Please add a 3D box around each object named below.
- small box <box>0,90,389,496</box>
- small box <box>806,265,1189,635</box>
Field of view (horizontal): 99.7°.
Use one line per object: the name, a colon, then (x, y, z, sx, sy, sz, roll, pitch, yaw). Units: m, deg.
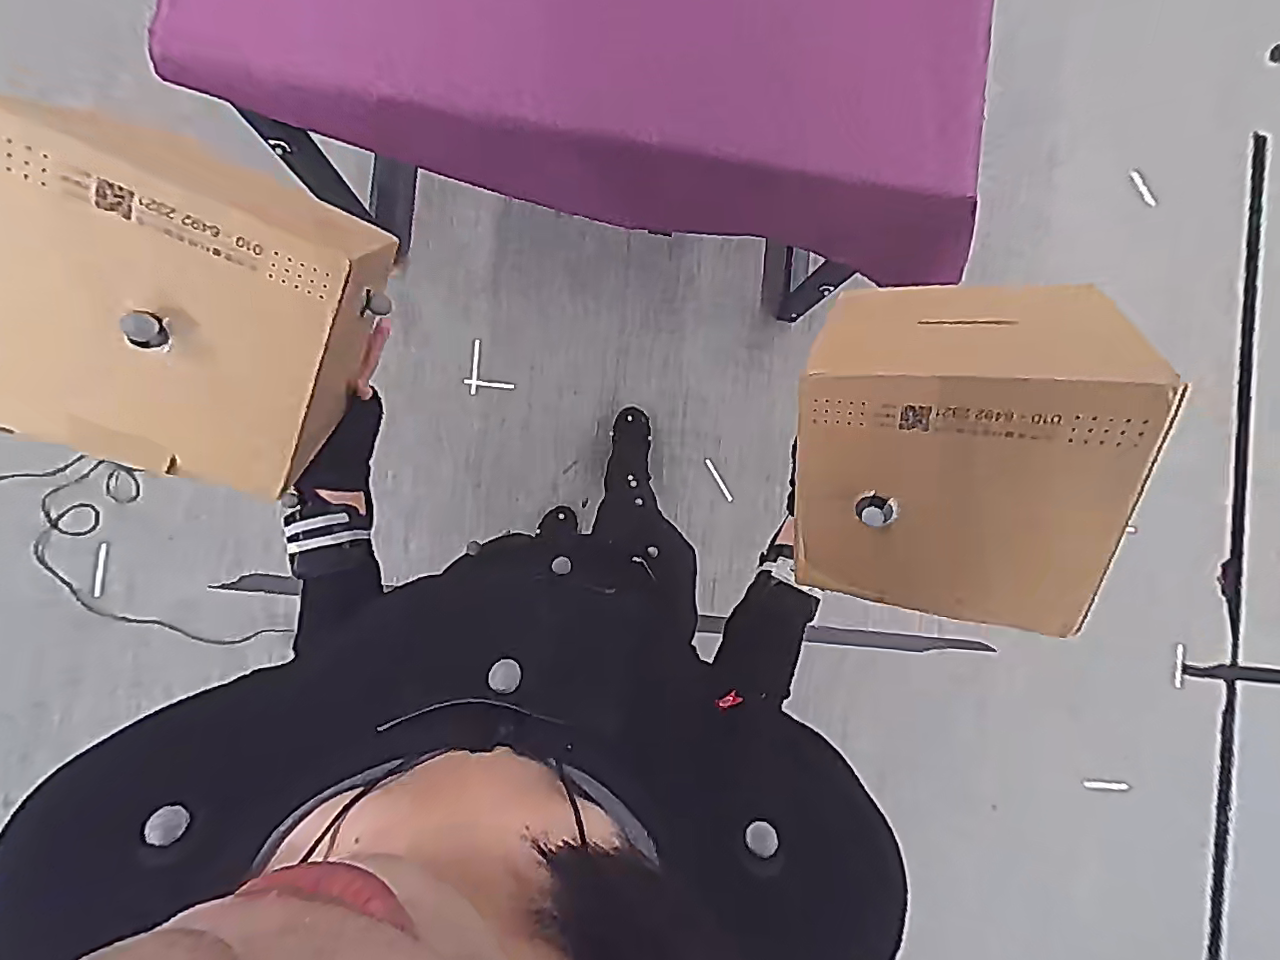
small box: (-0.281, -0.118, 0.353, 0.168, 0.179, 0.176, 19, 110, -23)
small box: (0.208, -0.033, 0.360, 0.168, 0.179, 0.176, 8, 126, 24)
